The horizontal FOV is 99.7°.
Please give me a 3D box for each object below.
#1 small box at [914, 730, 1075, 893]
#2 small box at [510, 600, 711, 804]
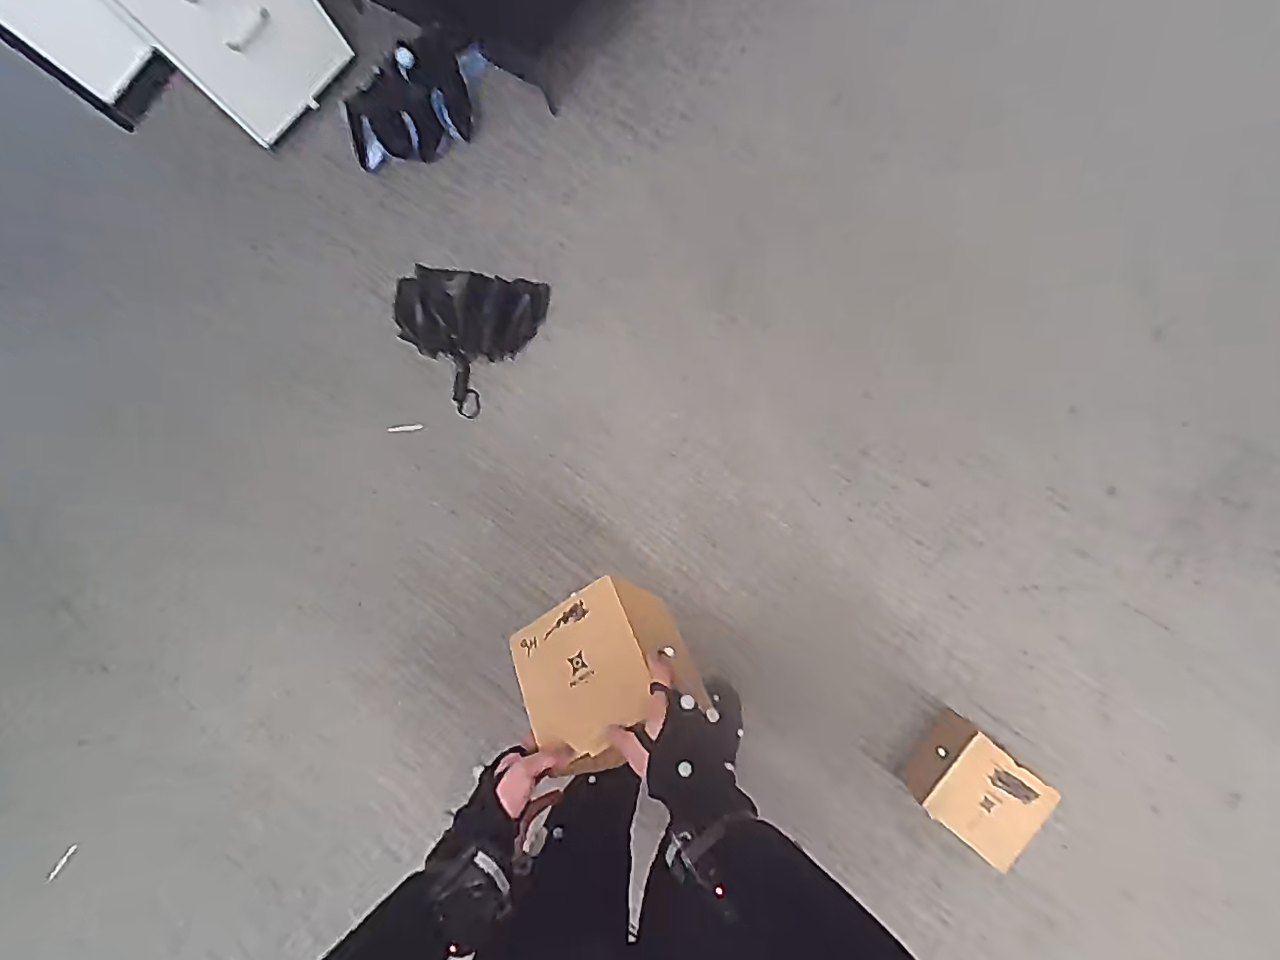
[{"bbox_3d":[0.657,0.613,1.030,0.168,0.176,0.179,37,89,16],"label":"small box"},{"bbox_3d":[-0.033,0.283,0.702,0.168,0.176,0.179,-36,56,10],"label":"small box"}]
